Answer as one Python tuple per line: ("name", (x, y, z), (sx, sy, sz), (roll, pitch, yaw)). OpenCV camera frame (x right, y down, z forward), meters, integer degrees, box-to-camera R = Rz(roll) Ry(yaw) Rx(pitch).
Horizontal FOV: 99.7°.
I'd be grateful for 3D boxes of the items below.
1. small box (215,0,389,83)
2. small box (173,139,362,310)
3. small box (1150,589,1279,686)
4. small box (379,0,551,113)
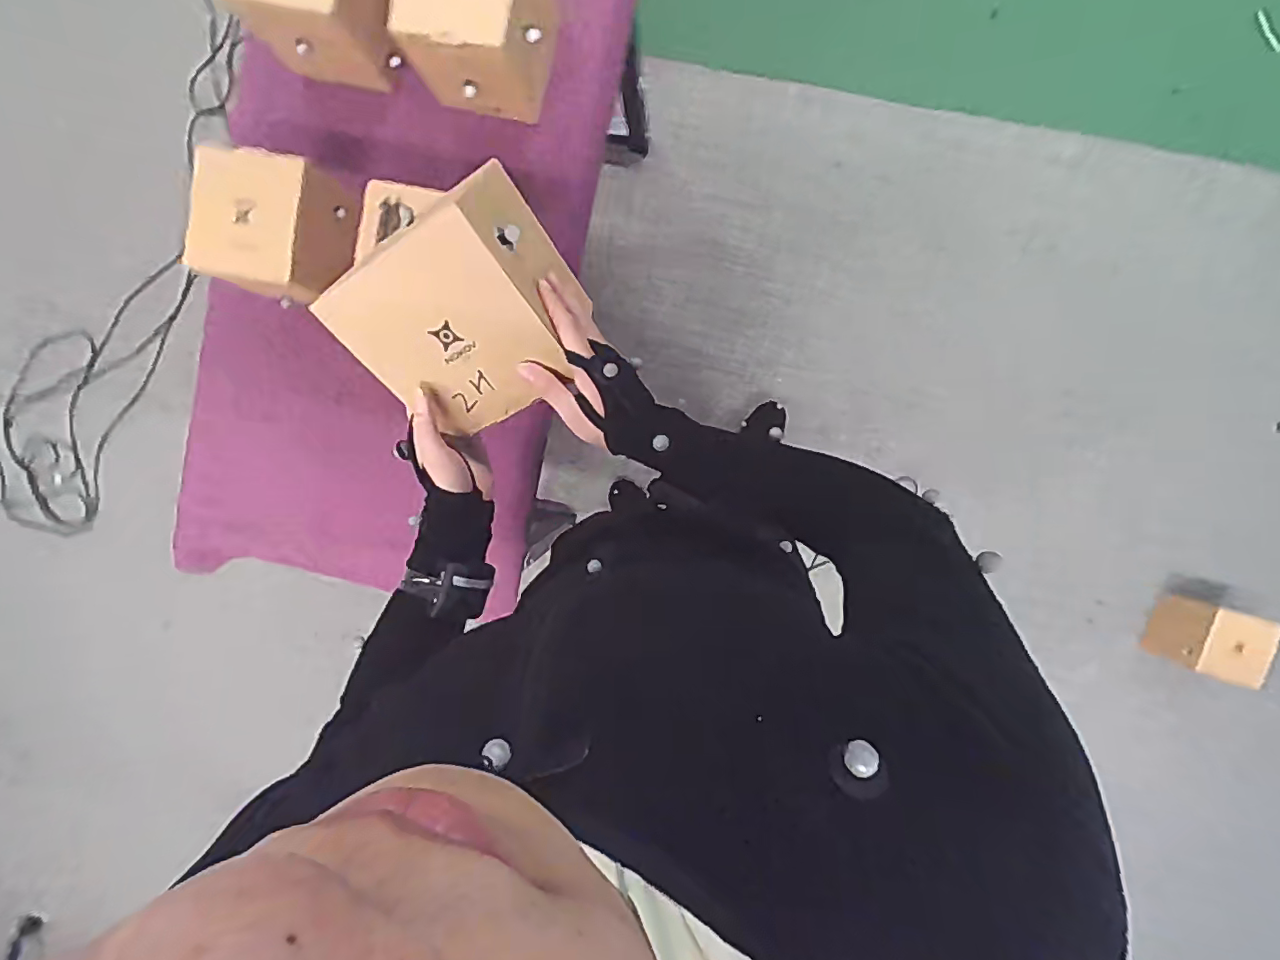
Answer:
("small box", (-0.484, -0.729, 0.796), (0.179, 0.176, 0.168), (13, 95, 5))
("small box", (-0.556, -0.379, 0.829), (0.168, 0.176, 0.179), (11, 95, 4))
("small box", (1.521, 0.407, 1.432), (0.168, 0.176, 0.179), (15, 96, 4))
("small box", (-0.240, -0.672, 0.778), (0.168, 0.176, 0.179), (14, 96, 5))
